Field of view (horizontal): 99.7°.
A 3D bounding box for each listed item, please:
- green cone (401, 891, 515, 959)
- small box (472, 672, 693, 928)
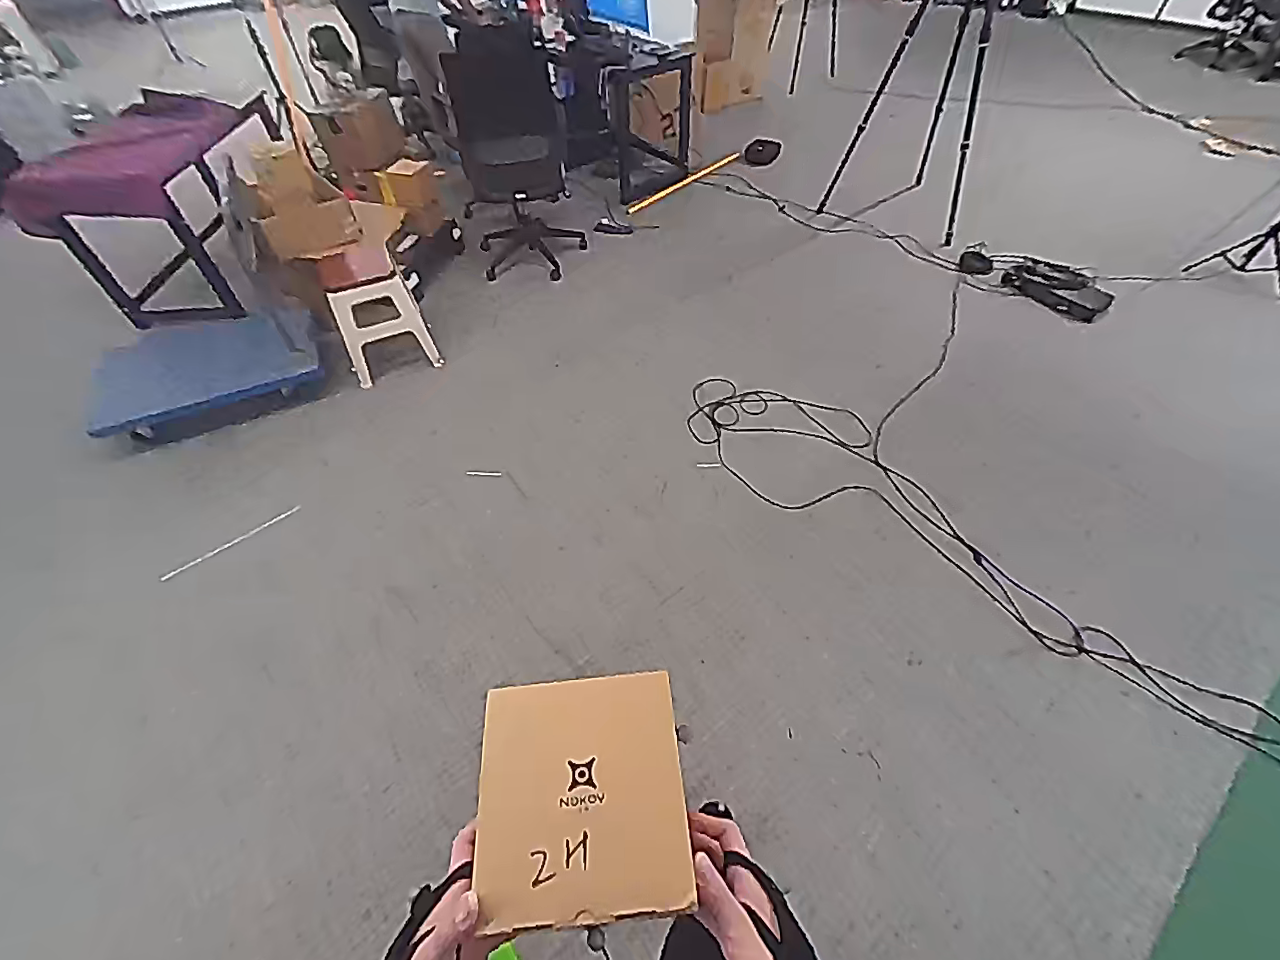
[{"bbox_3d":[-0.403,0.967,1.075,0.202,0.368,0.200,-31,57,-23],"label":"green cone"},{"bbox_3d":[-0.047,0.303,0.510,0.168,0.176,0.179,-5,51,-2],"label":"small box"}]
